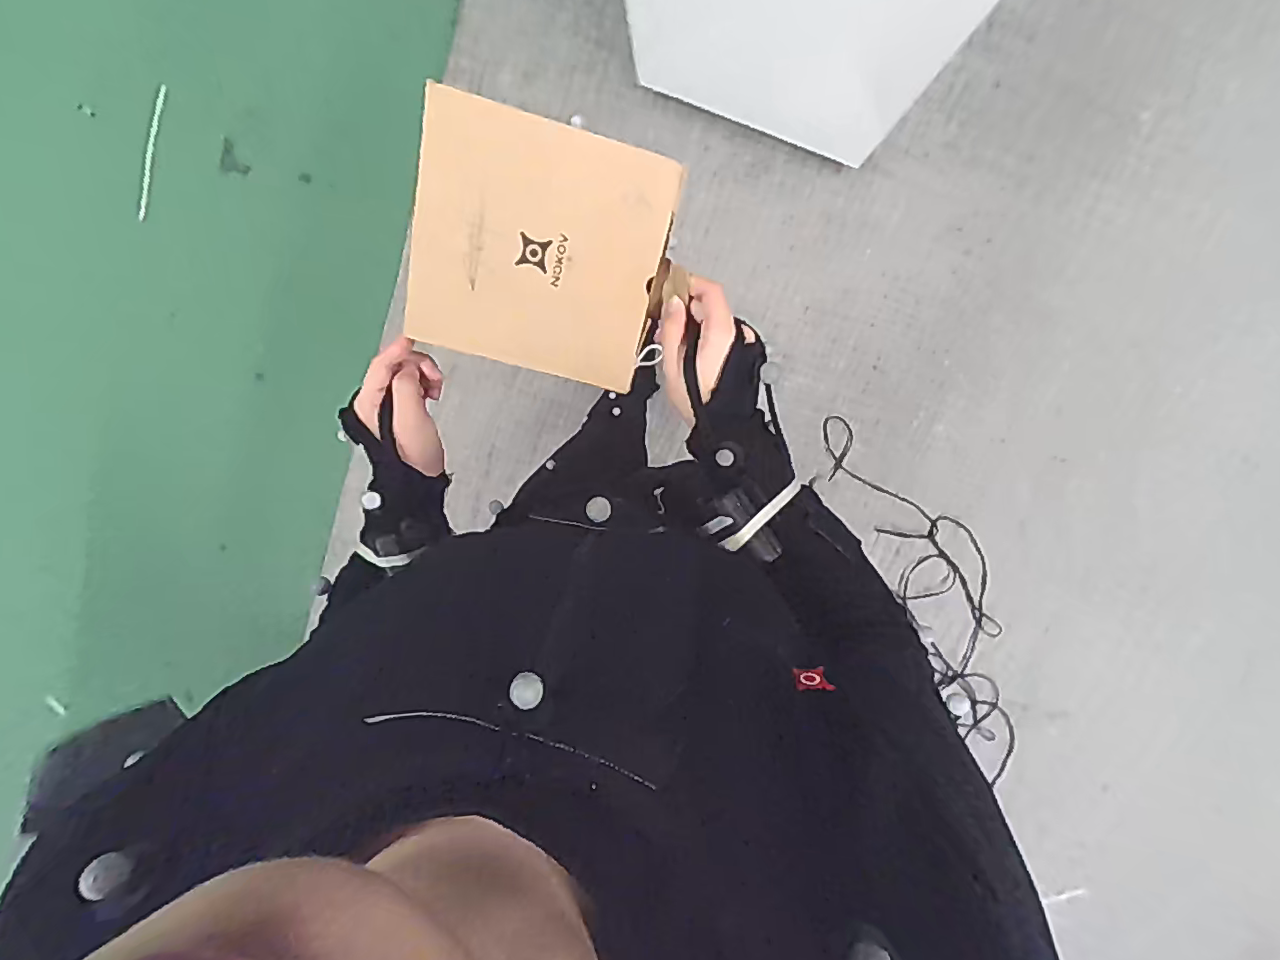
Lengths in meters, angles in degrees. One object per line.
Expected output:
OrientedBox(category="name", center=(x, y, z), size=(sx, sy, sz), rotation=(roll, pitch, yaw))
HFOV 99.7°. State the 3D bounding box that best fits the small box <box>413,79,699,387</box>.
OrientedBox(category="small box", center=(-0.067, -0.194, 0.456), size=(0.179, 0.176, 0.168), rotation=(13, 110, -8))
